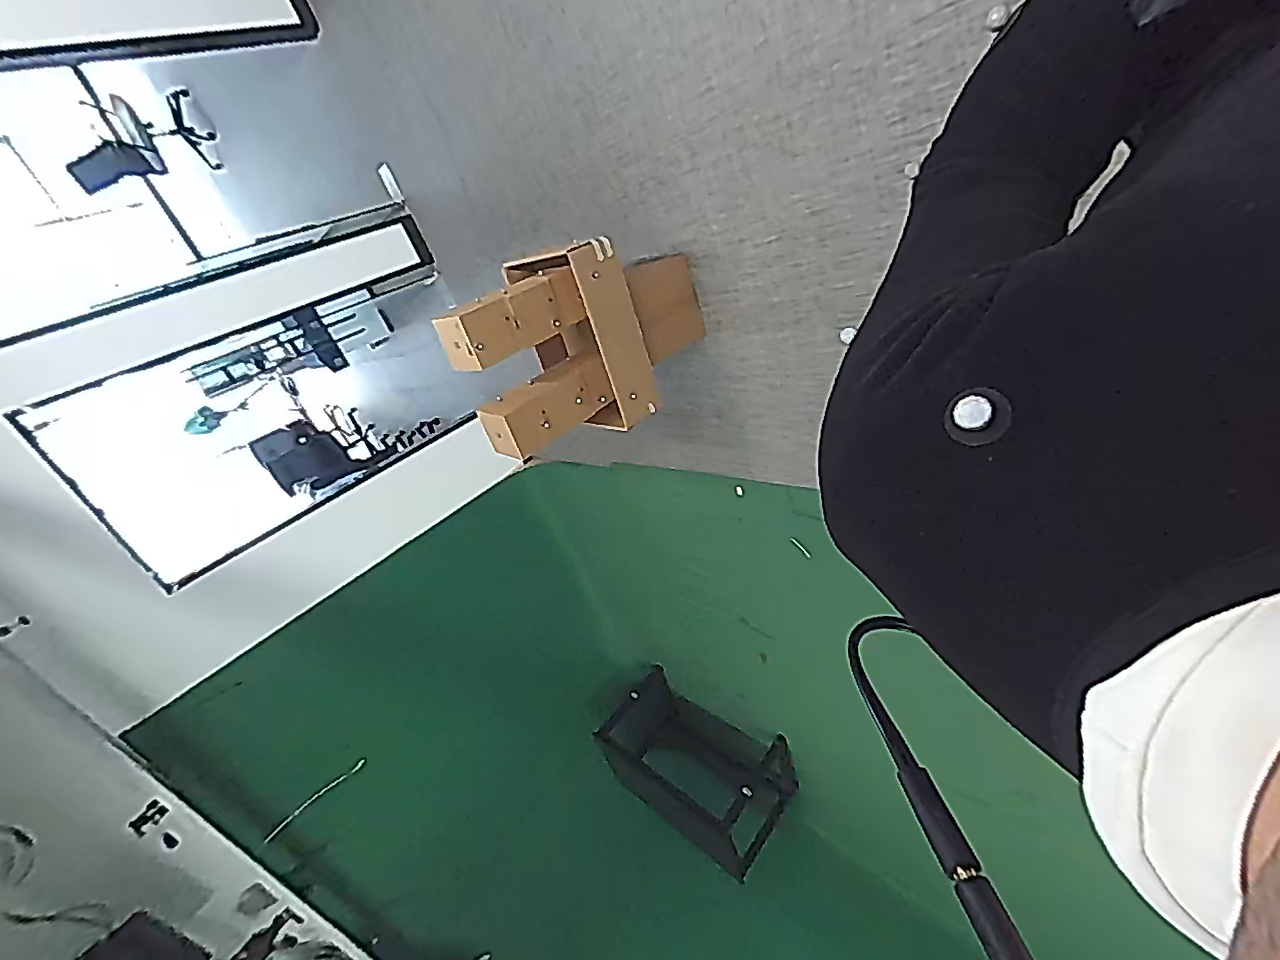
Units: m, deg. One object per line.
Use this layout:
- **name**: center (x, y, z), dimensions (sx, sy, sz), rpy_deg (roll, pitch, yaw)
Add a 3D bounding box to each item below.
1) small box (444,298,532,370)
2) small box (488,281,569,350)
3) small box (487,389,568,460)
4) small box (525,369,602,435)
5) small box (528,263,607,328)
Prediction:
- **small box**: center (-0.462, -0.447, 1.660), dimensions (0.179, 0.176, 0.168), rpy_deg (12, 131, 46)
- **small box**: center (-0.348, -0.532, 1.742), dimensions (0.179, 0.176, 0.168), rpy_deg (15, 133, 44)
- **small box**: center (-0.372, -0.192, 1.801), dimensions (0.179, 0.176, 0.168), rpy_deg (16, 134, 44)
- **small box**: center (-0.263, -0.277, 1.887), dimensions (0.179, 0.176, 0.168), rpy_deg (16, 134, 44)
- **small box**: center (-0.243, -0.621, 1.833), dimensions (0.179, 0.176, 0.168), rpy_deg (13, 131, 44)
